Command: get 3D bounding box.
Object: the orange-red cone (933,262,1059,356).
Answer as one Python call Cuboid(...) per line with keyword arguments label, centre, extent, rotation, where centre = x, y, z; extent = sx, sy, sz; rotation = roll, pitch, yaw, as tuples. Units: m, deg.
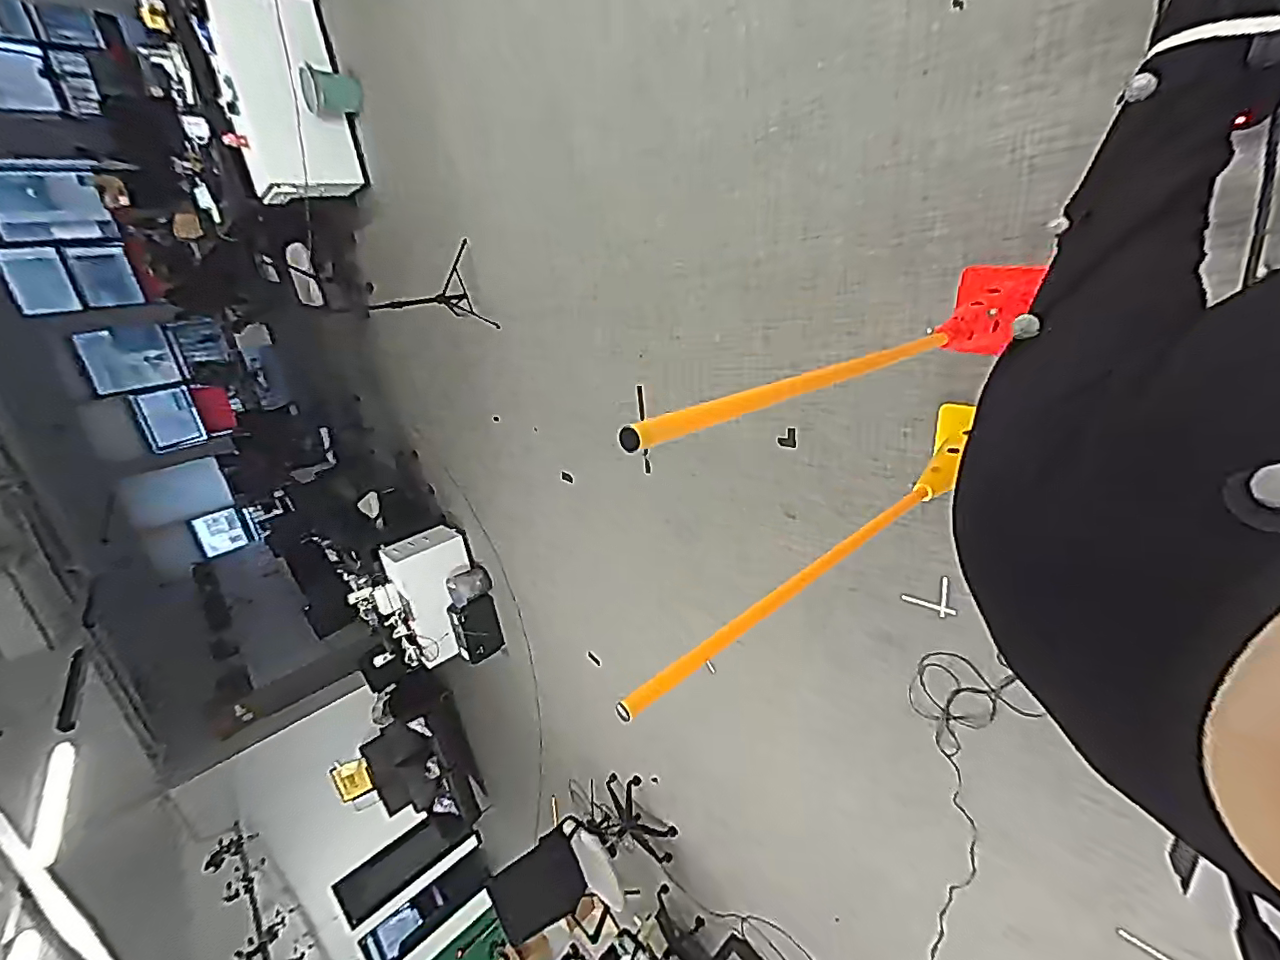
Cuboid(label="orange-red cone", centre=(0.703, -0.342, 1.141), extent=(0.198, 0.360, 0.199), rotation=(23, 125, 41))
